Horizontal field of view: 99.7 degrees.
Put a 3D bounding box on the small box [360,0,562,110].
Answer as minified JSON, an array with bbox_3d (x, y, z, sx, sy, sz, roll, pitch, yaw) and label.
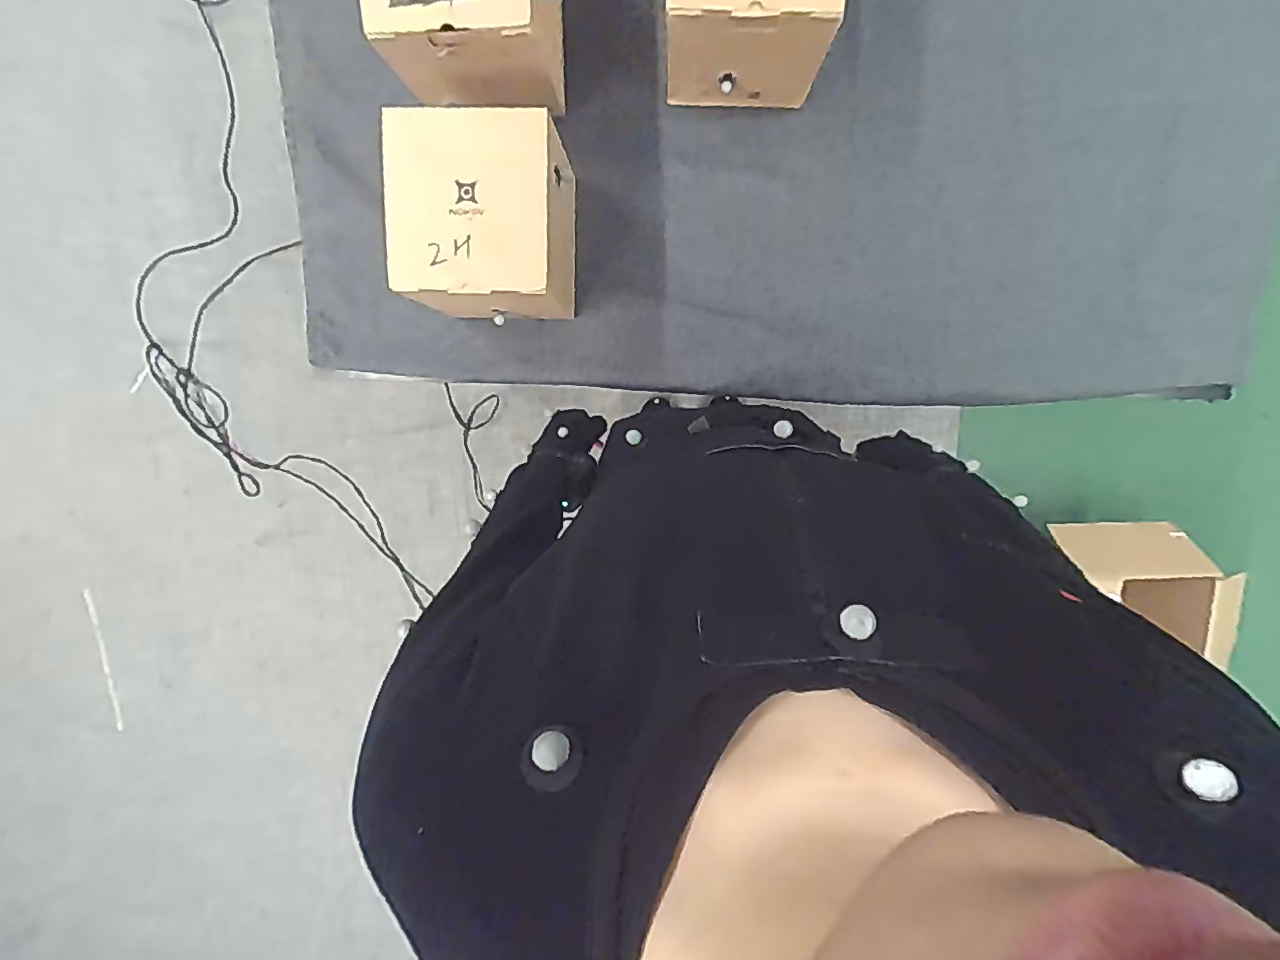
[{"bbox_3d":[-0.180,-0.524,0.576,0.168,0.176,0.179,0,100,2],"label":"small box"}]

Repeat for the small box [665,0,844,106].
[{"bbox_3d":[0.113,-0.532,0.566,0.168,0.176,0.179,3,101,2],"label":"small box"}]

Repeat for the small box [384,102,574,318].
[{"bbox_3d":[-0.170,-0.290,0.615,0.168,0.176,0.179,2,98,2],"label":"small box"}]
